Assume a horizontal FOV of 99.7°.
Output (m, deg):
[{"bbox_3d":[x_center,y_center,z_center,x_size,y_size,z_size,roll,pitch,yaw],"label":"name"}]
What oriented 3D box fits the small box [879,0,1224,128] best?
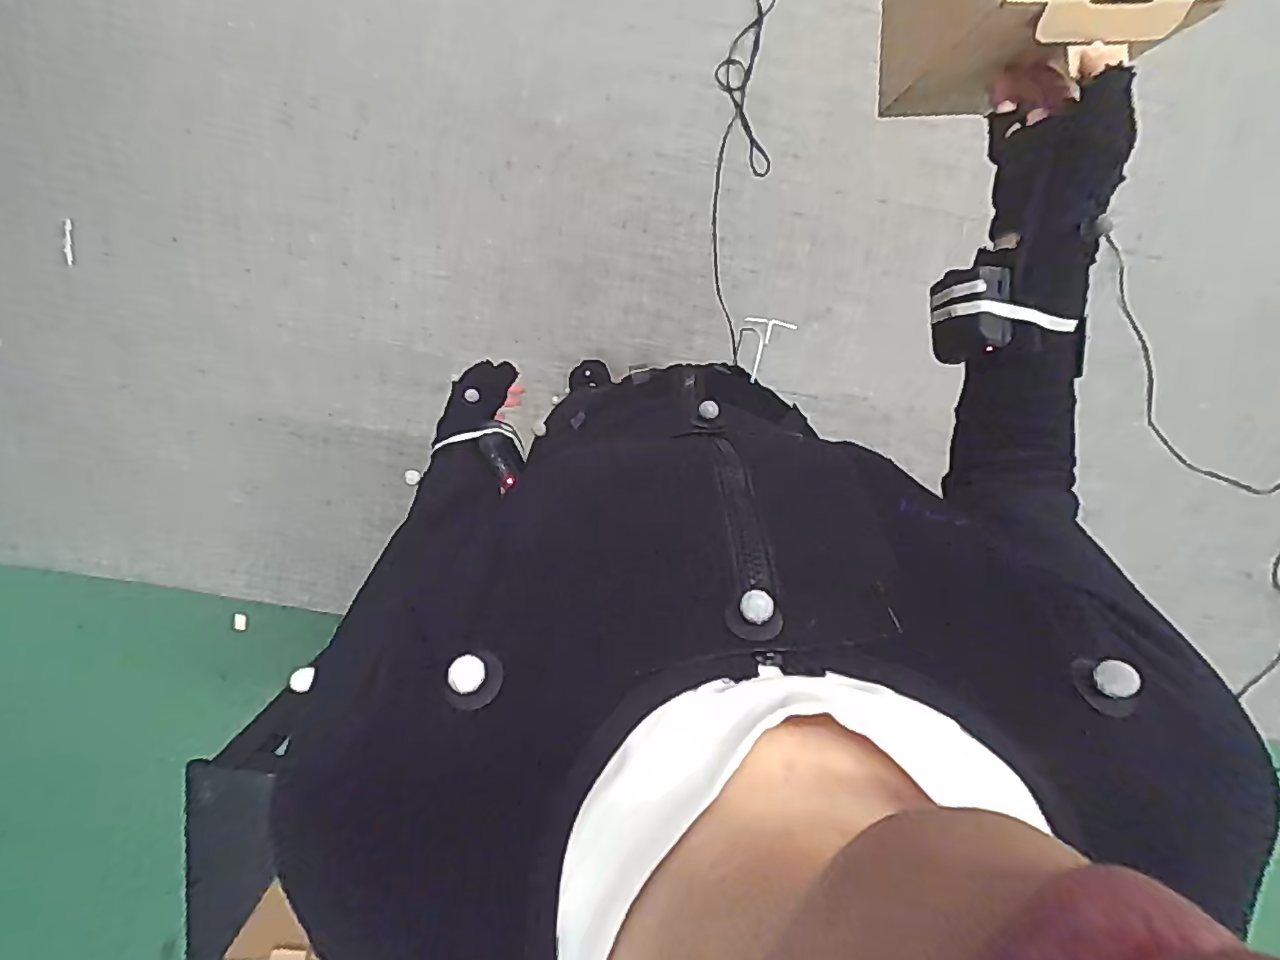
[{"bbox_3d":[0.309,-0.412,0.428,0.168,0.176,0.179,-3,102,-3],"label":"small box"}]
